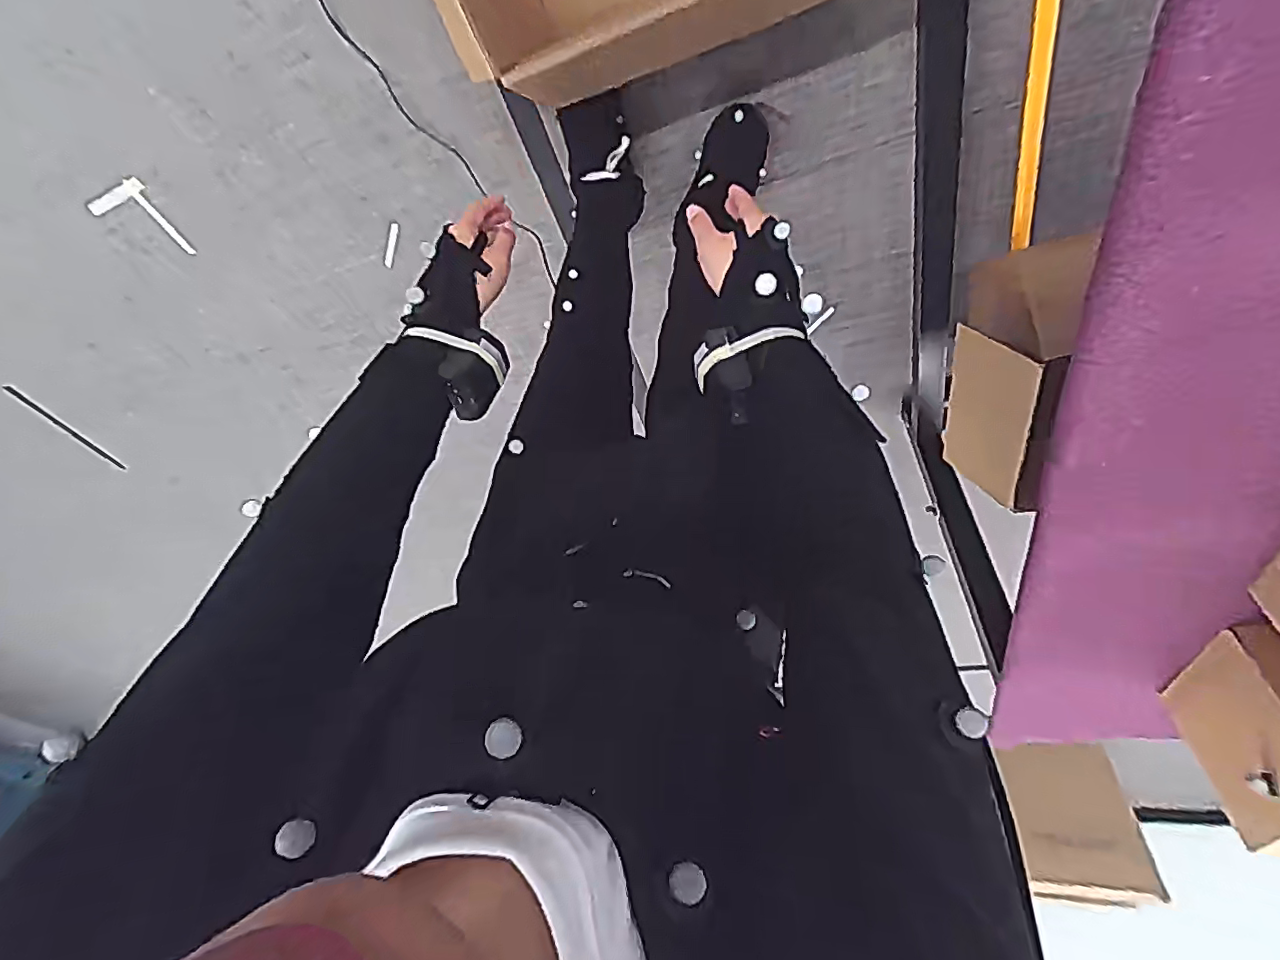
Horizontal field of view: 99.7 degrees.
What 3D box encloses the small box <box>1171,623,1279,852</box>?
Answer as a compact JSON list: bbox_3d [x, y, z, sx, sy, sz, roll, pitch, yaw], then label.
[{"bbox_3d":[0.693,0.258,0.536,0.168,0.176,0.179,-6,135,14],"label":"small box"}]
